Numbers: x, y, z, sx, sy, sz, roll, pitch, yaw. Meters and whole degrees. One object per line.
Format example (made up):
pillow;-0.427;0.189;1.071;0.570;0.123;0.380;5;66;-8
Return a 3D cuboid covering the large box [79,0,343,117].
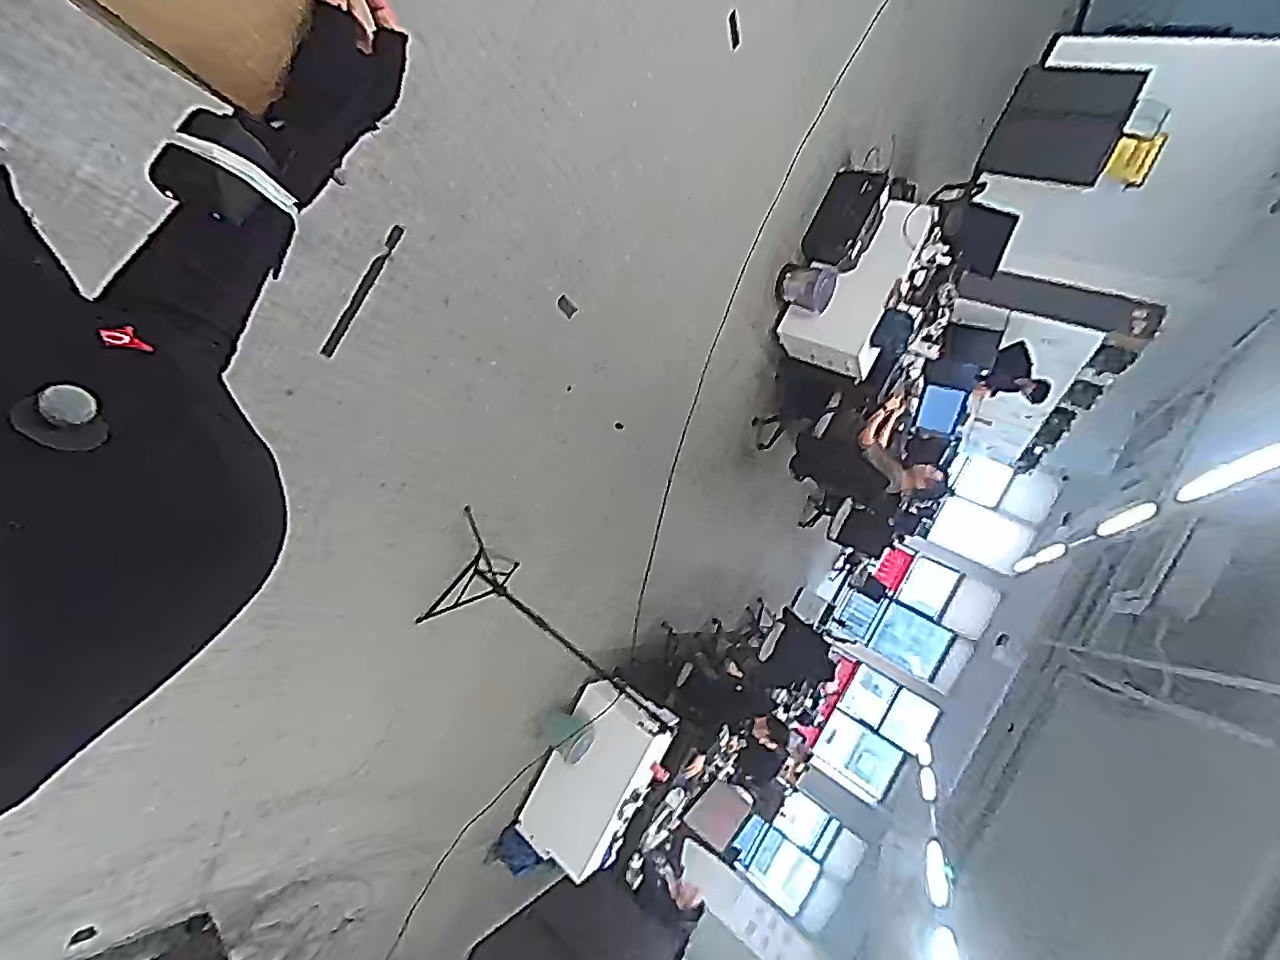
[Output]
large box;-0.399;-0.528;0.312;0.320;0.320;0.408;-54;153;5
